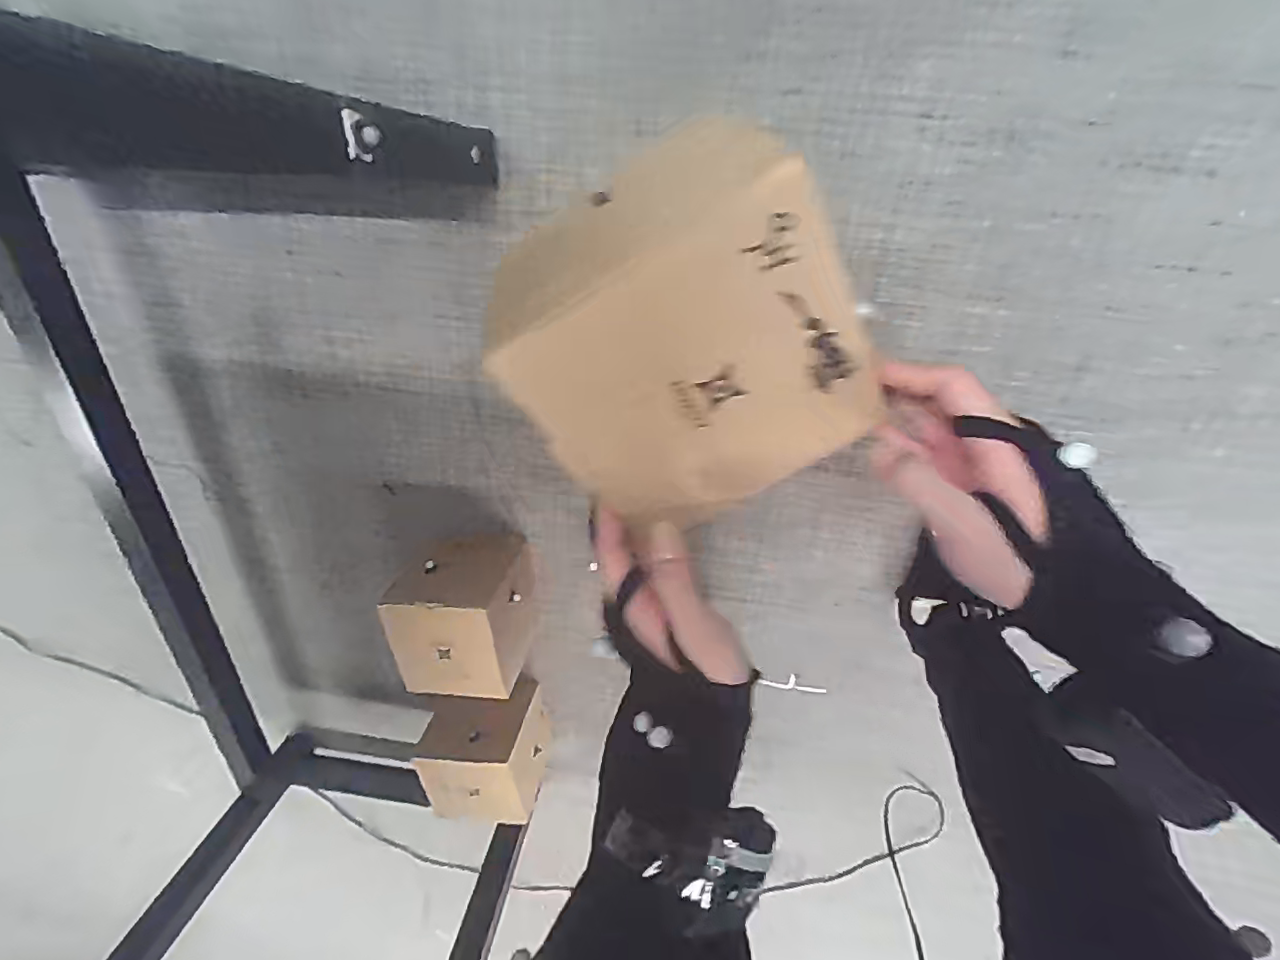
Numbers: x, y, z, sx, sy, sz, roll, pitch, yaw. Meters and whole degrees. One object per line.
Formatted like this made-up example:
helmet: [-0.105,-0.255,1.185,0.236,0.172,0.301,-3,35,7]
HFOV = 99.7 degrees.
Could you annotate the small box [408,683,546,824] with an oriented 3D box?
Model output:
small box: [-0.277,0.482,0.973,0.179,0.176,0.168,-1,117,9]

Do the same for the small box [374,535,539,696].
small box: [-0.266,0.199,0.829,0.168,0.176,0.179,1,118,9]
